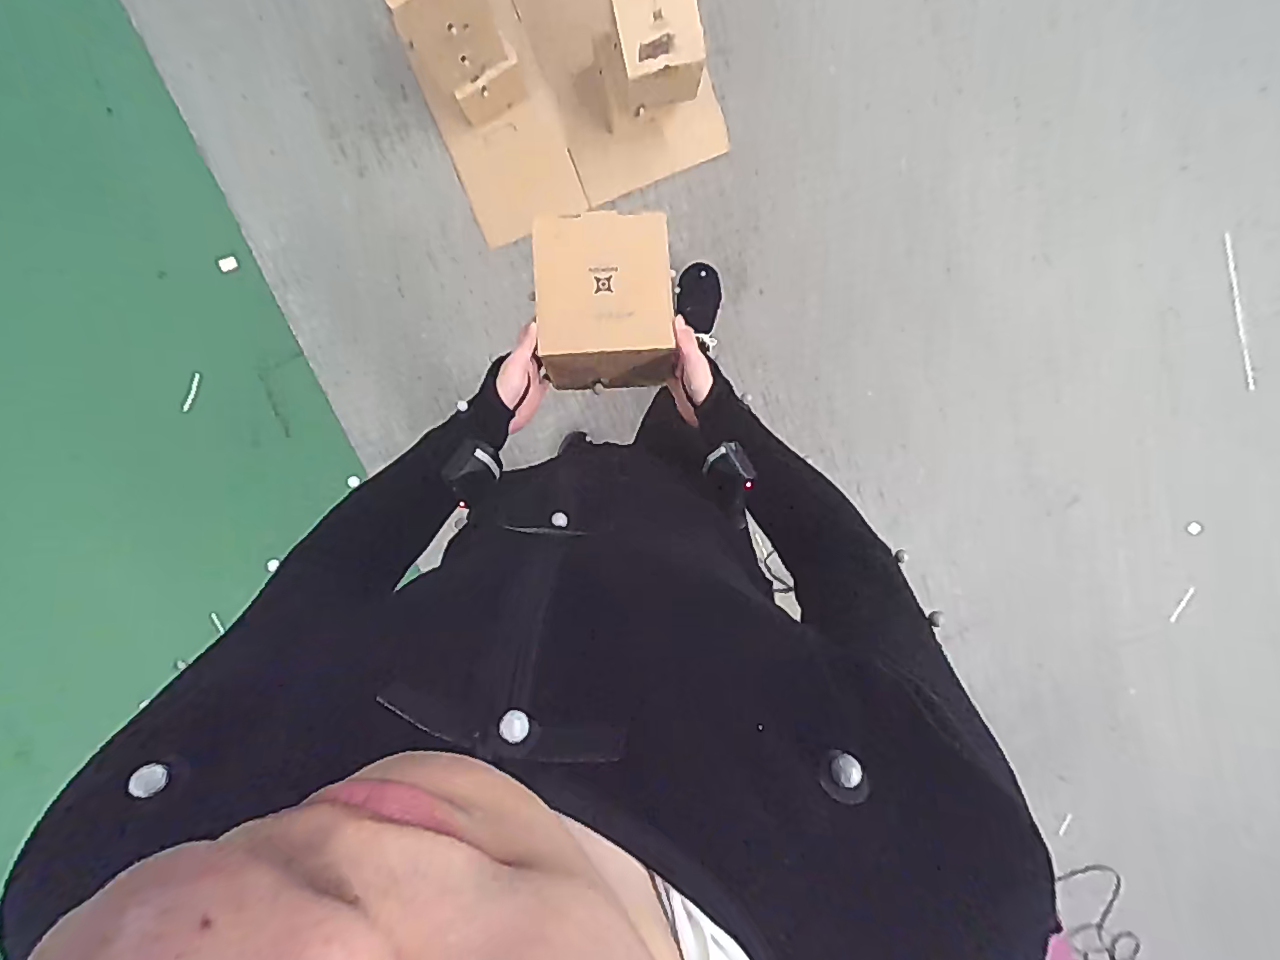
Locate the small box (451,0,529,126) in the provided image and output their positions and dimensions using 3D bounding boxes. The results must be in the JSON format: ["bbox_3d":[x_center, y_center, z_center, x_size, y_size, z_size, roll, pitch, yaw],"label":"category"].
[{"bbox_3d":[-0.383,-0.988,1.275,0.168,0.176,0.179,-29,102,5],"label":"small box"}]

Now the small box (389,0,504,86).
[{"bbox_3d":[-0.402,-0.958,1.112,0.168,0.176,0.179,-28,101,4],"label":"small box"}]

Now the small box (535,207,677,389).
[{"bbox_3d":[-0.045,-0.232,0.721,0.168,0.176,0.179,-3,84,-2],"label":"small box"}]

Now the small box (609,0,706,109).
[{"bbox_3d":[0.035,-0.914,1.133,0.168,0.176,0.179,-13,101,1],"label":"small box"}]

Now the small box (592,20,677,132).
[{"bbox_3d":[-0.007,-0.965,1.290,0.168,0.176,0.179,-17,102,2],"label":"small box"}]
